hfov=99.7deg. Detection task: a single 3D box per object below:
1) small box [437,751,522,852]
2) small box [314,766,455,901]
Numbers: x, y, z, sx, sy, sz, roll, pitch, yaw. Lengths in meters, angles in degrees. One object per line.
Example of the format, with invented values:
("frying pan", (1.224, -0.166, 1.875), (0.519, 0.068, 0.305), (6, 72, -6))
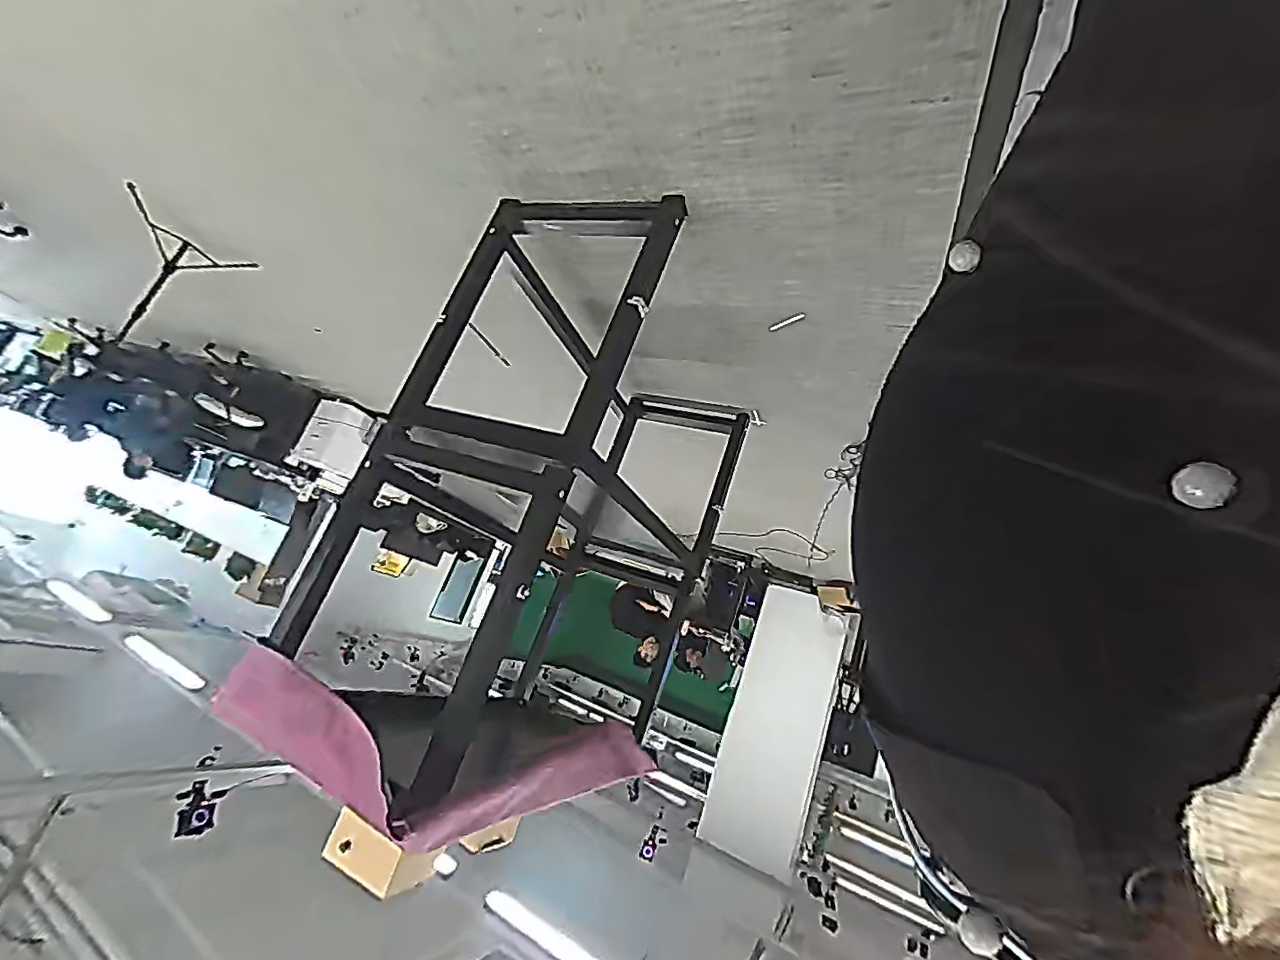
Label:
("small box", (-0.439, 0.848, 1.446), (0.179, 0.176, 0.168), (13, 163, 30))
("small box", (-0.533, 0.733, 1.149), (0.179, 0.176, 0.168), (15, 165, 21))
